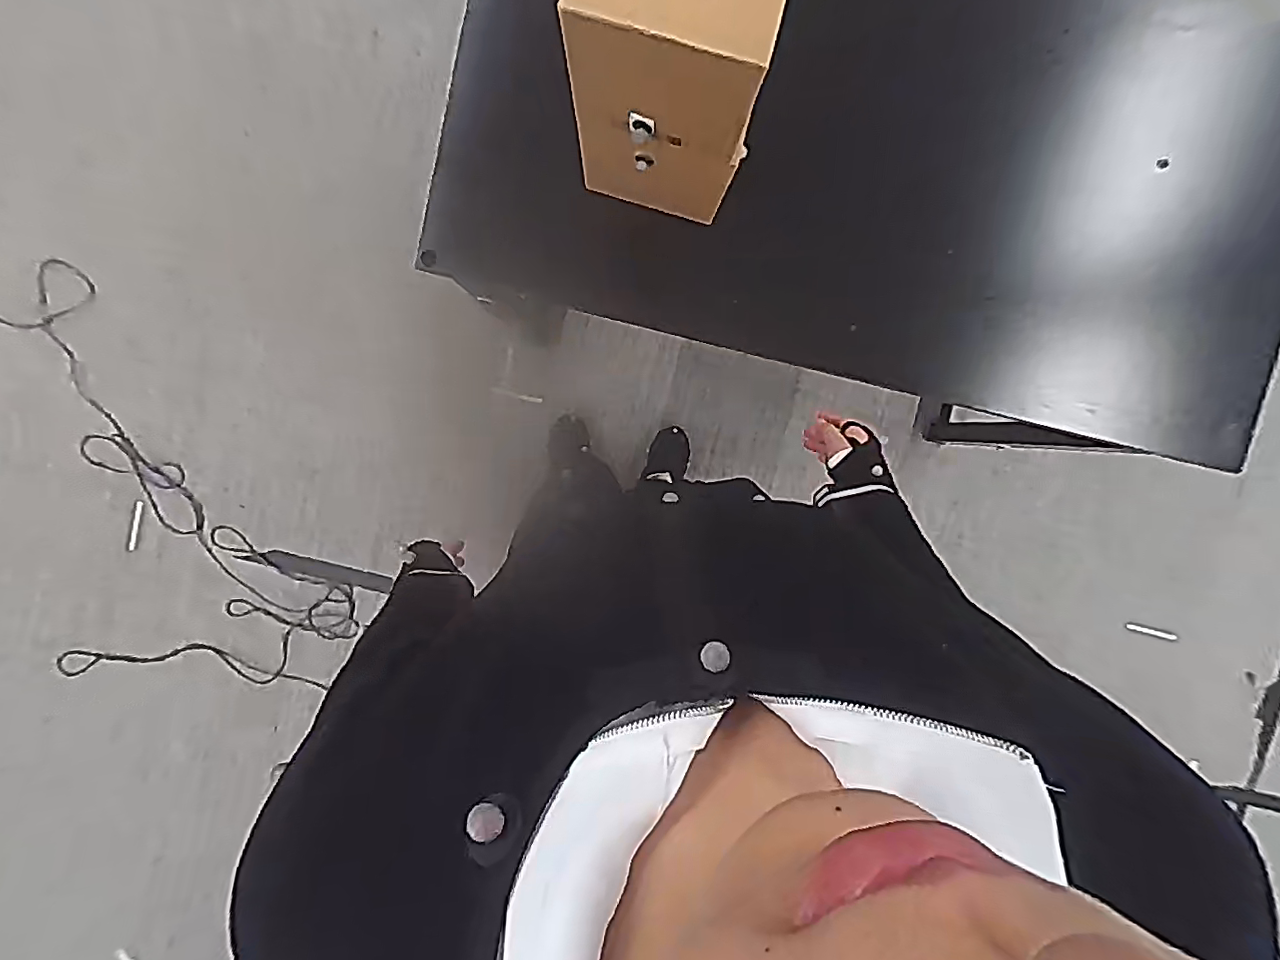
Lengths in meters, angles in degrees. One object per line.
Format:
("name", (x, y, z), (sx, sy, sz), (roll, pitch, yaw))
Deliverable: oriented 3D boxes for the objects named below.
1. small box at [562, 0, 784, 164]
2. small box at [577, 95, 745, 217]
("small box", (0.037, -0.424, 0.479), (0.168, 0.176, 0.179), (14, 96, -2))
("small box", (0.034, -0.440, 0.641), (0.179, 0.176, 0.168), (14, 95, -4))
